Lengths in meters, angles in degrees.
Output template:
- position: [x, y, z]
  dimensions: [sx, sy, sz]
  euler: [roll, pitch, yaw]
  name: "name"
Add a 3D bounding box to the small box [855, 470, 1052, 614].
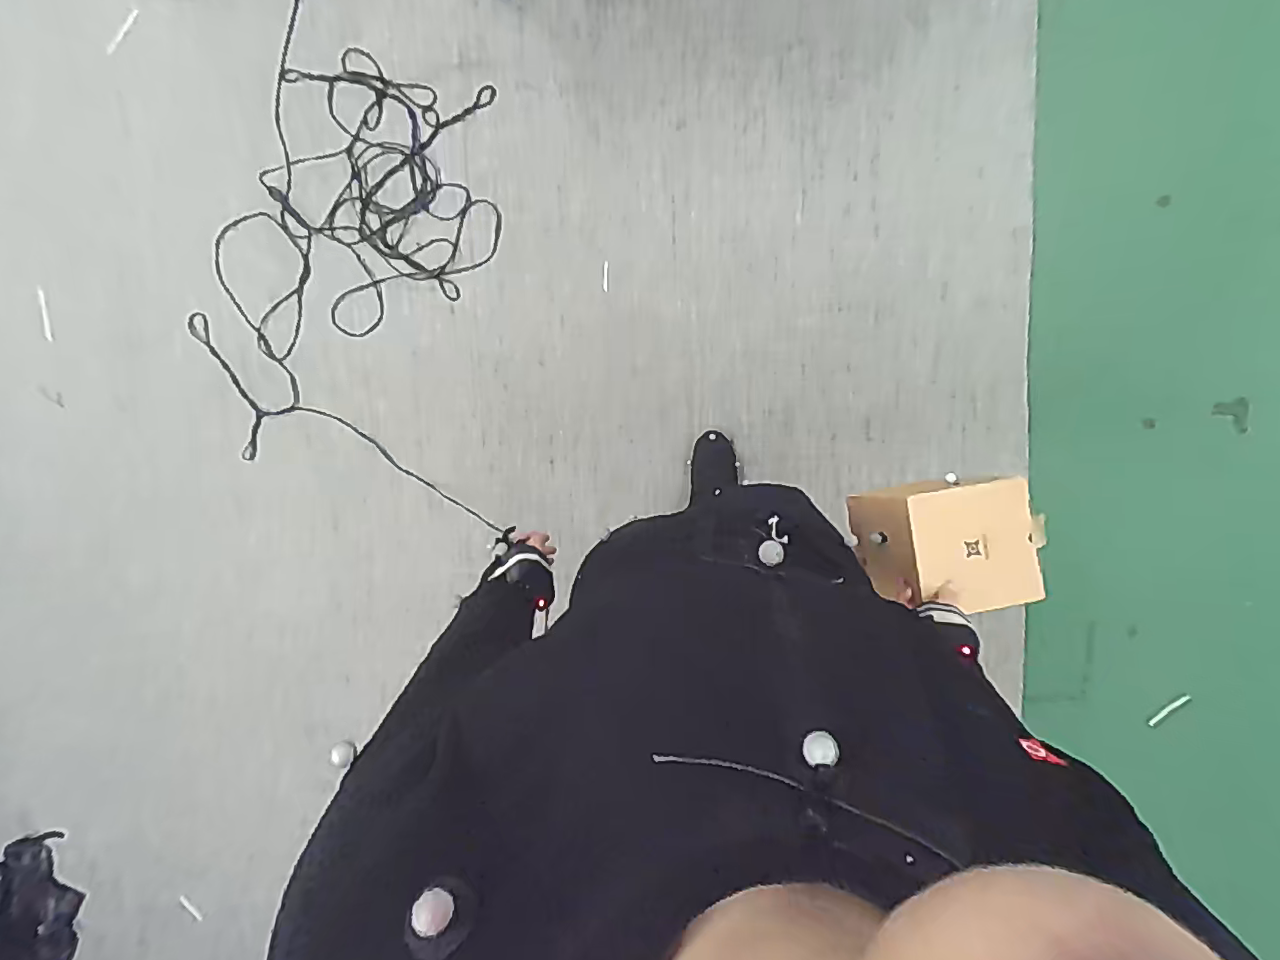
- position: [0.427, 0.082, 0.770]
  dimensions: [0.179, 0.176, 0.168]
  euler: [-9, 89, -7]
  name: "small box"
